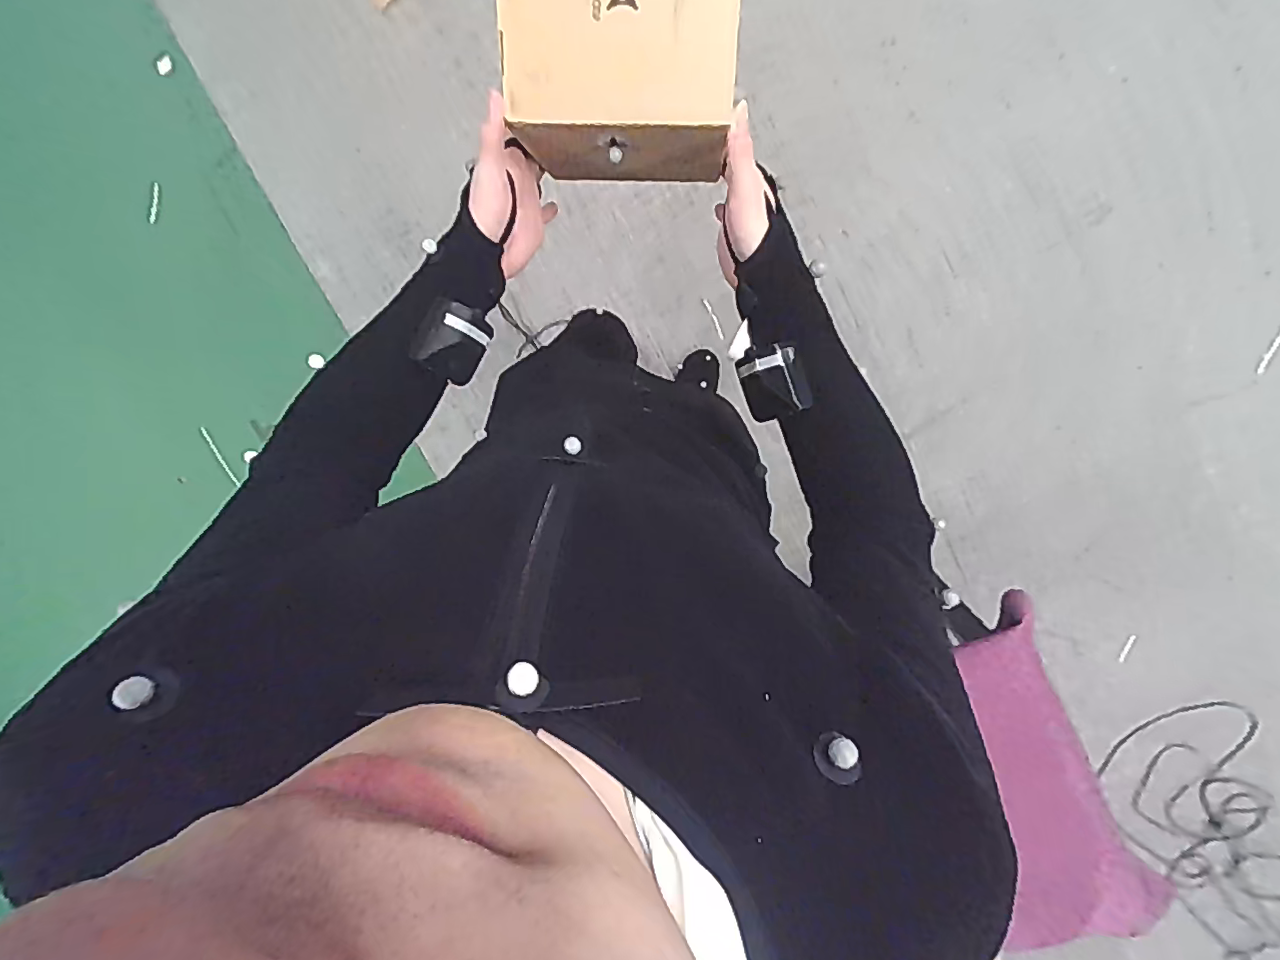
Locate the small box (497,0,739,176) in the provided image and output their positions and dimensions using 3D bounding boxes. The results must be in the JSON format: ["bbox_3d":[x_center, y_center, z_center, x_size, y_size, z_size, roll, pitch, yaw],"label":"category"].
[{"bbox_3d":[-0.010,-0.369,0.456,0.179,0.176,0.168,3,107,4],"label":"small box"}]

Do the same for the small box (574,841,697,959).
[{"bbox_3d":[0.001,0.836,1.036,0.179,0.176,0.168,-24,101,13],"label":"small box"}]
